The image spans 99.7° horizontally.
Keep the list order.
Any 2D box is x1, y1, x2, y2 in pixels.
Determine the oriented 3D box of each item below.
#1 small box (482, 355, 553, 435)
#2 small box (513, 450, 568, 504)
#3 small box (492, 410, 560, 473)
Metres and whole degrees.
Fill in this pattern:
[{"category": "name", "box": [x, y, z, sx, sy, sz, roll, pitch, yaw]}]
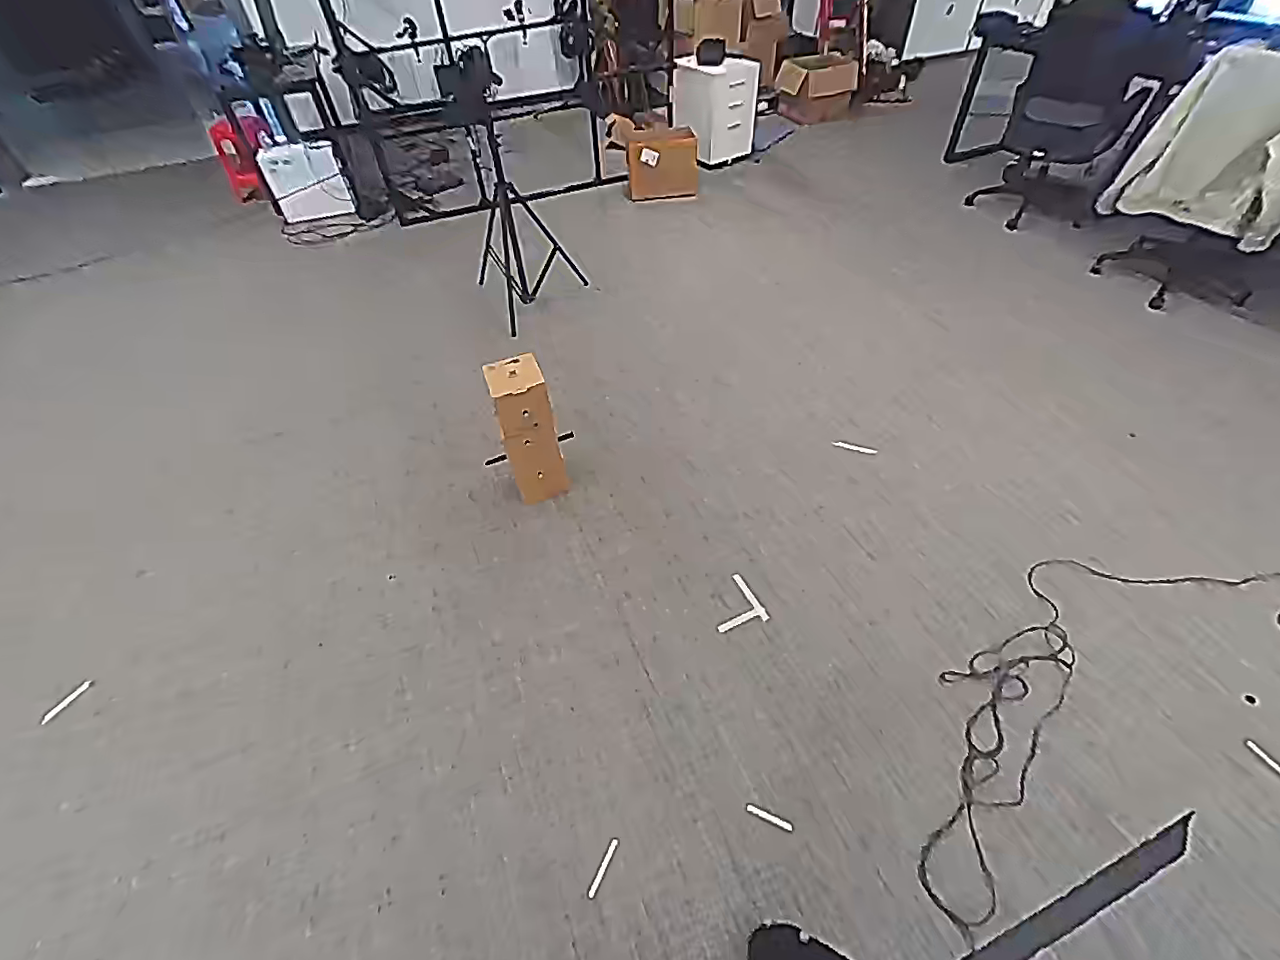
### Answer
[{"category": "small box", "box": [-0.382, -0.261, 1.708, 0.168, 0.176, 0.179, -18, 51, -12]}, {"category": "small box", "box": [-0.368, -0.042, 1.952, 0.179, 0.176, 0.168, -20, 50, -13]}, {"category": "small box", "box": [-0.381, -0.147, 1.826, 0.179, 0.176, 0.168, -18, 50, -12]}]
